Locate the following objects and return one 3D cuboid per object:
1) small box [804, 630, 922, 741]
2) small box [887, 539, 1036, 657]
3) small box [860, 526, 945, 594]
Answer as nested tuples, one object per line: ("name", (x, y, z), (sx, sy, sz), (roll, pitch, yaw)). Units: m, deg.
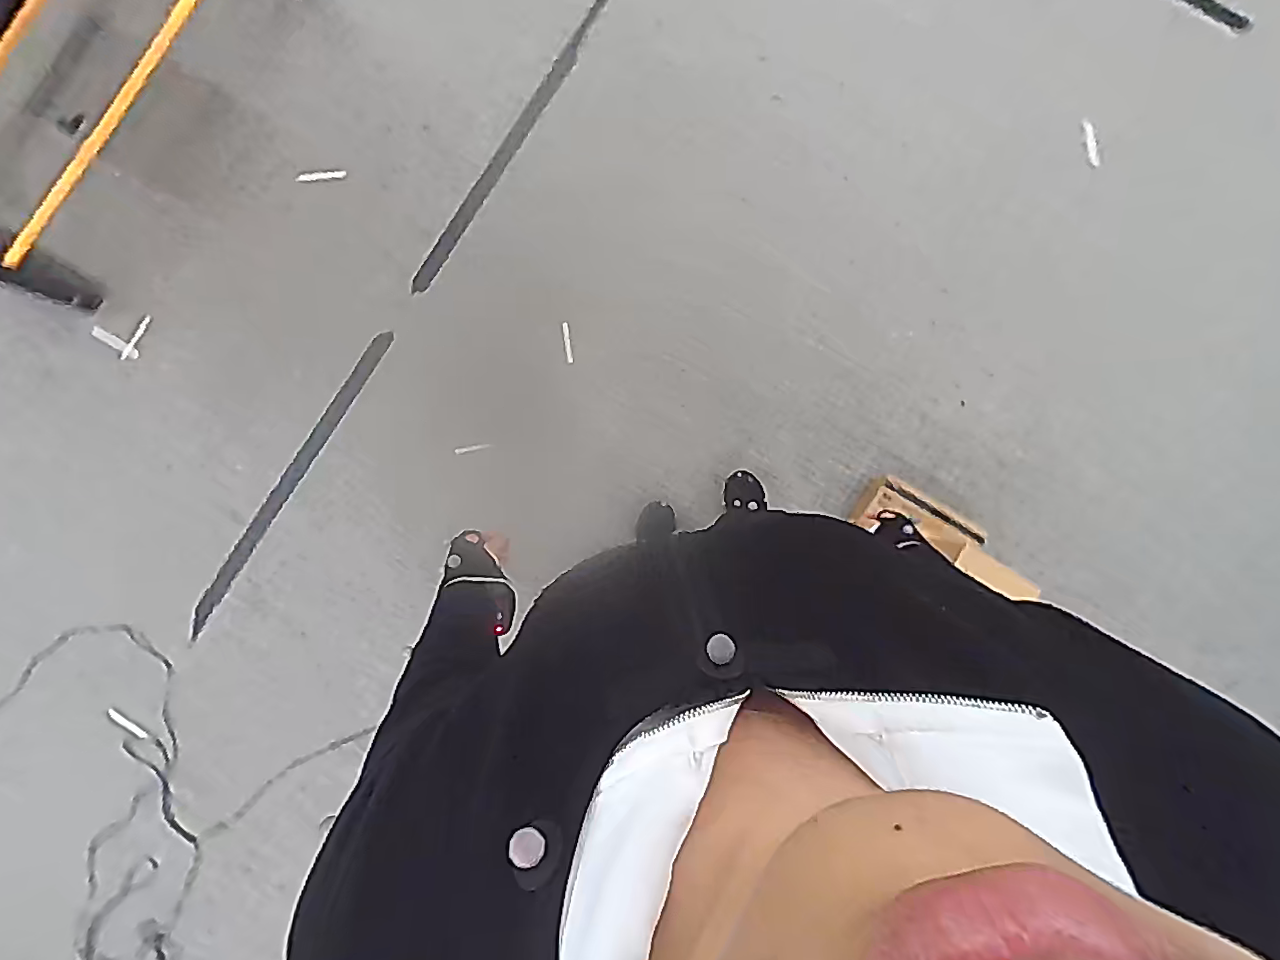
("small box", (0.526, 0.482, 1.304), (0.179, 0.176, 0.168), (31, 89, 2))
("small box", (0.668, 0.237, 1.144), (0.179, 0.176, 0.168), (32, 89, 1))
("small box", (0.674, 0.221, 1.310), (0.179, 0.176, 0.168), (30, 89, 2))
